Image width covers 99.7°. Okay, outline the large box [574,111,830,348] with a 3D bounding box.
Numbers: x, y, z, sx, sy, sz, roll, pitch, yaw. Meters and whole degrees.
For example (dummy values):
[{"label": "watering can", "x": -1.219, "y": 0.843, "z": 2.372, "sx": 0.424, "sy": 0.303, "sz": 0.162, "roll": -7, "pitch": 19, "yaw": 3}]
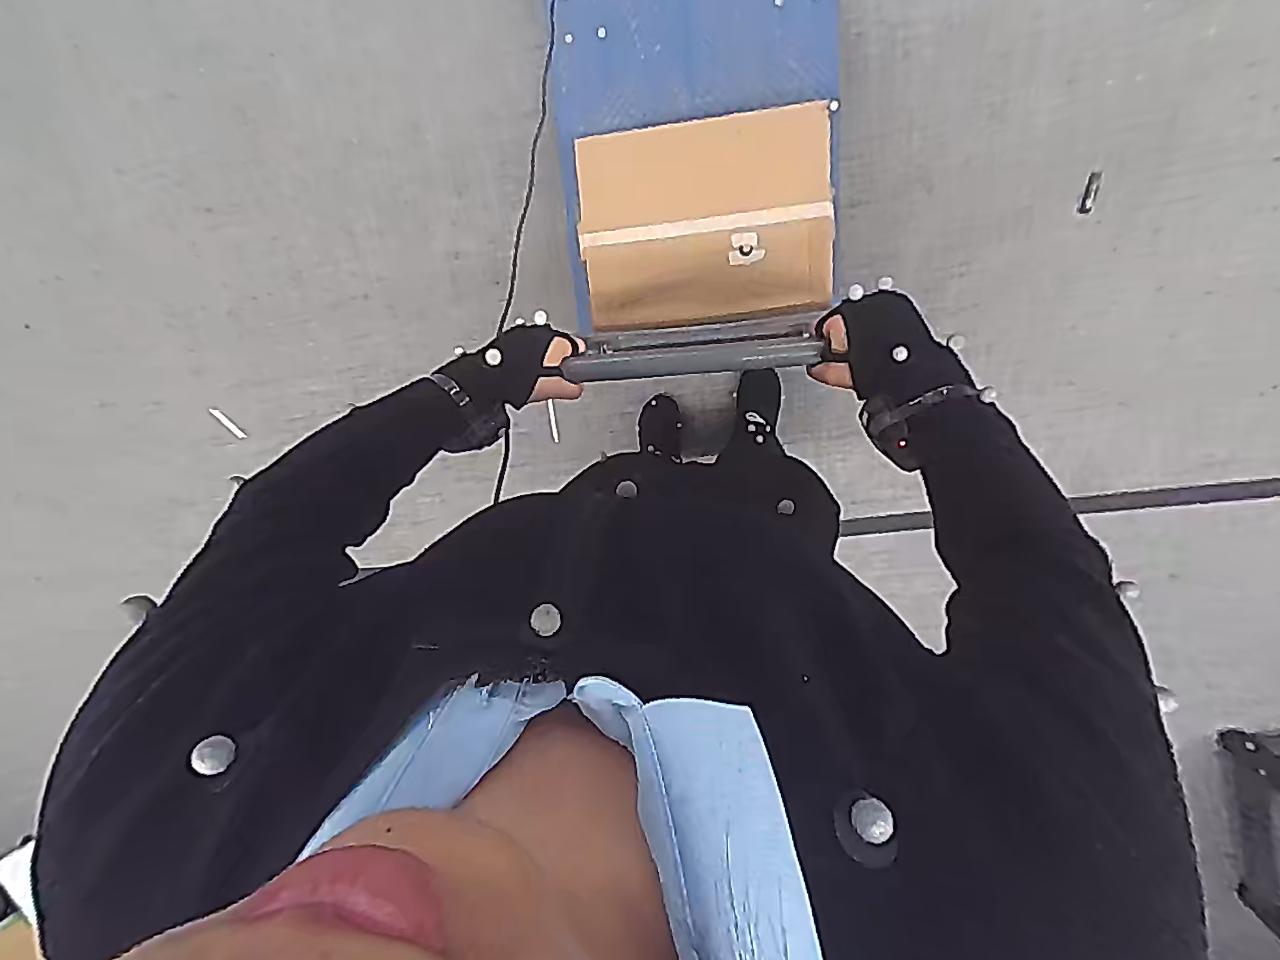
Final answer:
[{"label": "large box", "x": 0.118, "y": -0.433, "z": 1.029, "sx": 0.408, "sy": 0.320, "sz": 0.320, "roll": -4, "pitch": 103, "yaw": 8}]
